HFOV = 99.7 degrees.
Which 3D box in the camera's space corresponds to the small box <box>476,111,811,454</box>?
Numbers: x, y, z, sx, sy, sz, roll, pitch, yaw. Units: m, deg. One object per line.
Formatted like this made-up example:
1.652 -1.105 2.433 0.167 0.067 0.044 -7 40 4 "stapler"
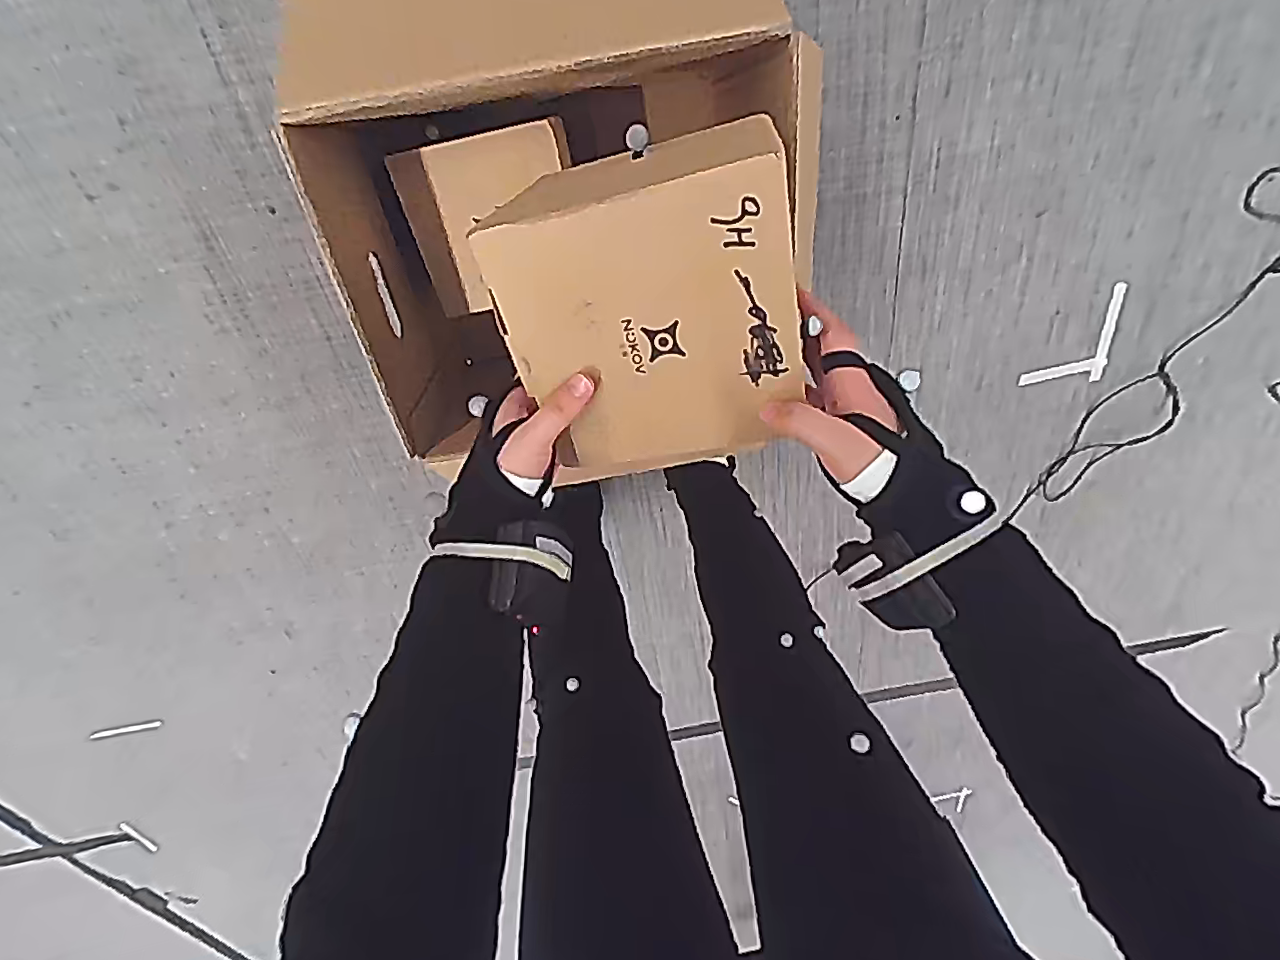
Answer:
0.022 -0.139 0.381 0.179 0.176 0.168 -5 128 15 "small box"
